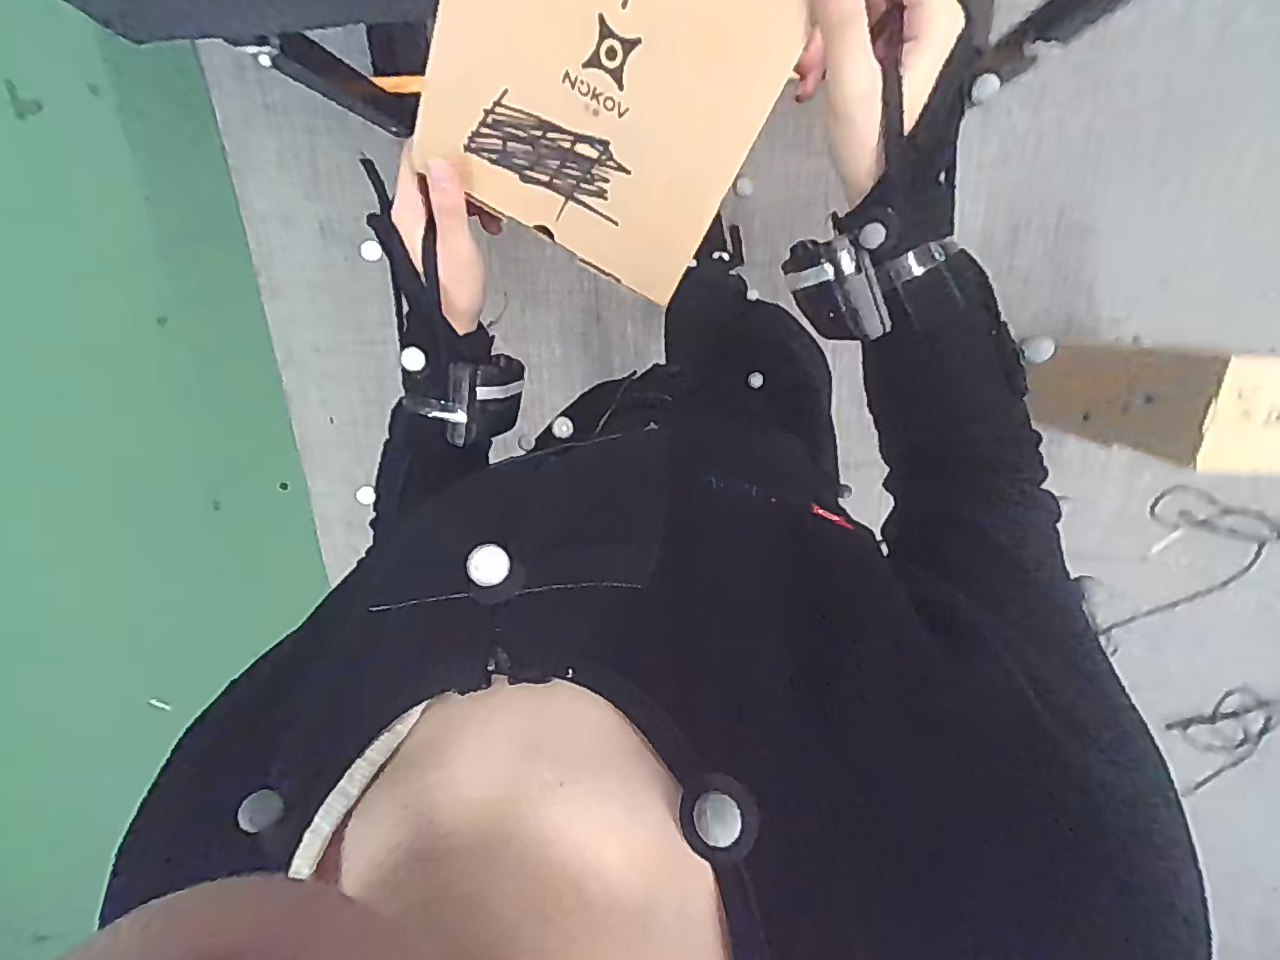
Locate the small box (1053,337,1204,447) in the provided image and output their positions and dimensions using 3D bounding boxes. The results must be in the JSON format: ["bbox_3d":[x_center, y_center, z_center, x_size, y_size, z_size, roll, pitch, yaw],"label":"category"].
[{"bbox_3d":[0.900,-0.164,0.983,0.168,0.176,0.179,0,108,4],"label":"small box"}]

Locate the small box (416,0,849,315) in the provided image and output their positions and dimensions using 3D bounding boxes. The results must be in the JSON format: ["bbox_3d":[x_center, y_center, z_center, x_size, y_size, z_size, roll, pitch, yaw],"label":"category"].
[{"bbox_3d":[-0.003,-0.238,0.332,0.168,0.176,0.179,29,123,-9],"label":"small box"}]

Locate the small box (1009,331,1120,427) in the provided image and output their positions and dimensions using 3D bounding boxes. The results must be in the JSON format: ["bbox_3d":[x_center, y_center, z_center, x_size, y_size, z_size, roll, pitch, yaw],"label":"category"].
[{"bbox_3d":[0.918,-0.214,1.138,0.168,0.176,0.179,3,110,4],"label":"small box"}]

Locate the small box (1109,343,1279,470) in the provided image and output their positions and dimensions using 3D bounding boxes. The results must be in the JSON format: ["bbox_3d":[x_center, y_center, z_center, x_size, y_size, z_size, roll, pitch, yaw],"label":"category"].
[{"bbox_3d":[0.886,-0.119,0.825,0.179,0.176,0.168,1,109,4],"label":"small box"}]
